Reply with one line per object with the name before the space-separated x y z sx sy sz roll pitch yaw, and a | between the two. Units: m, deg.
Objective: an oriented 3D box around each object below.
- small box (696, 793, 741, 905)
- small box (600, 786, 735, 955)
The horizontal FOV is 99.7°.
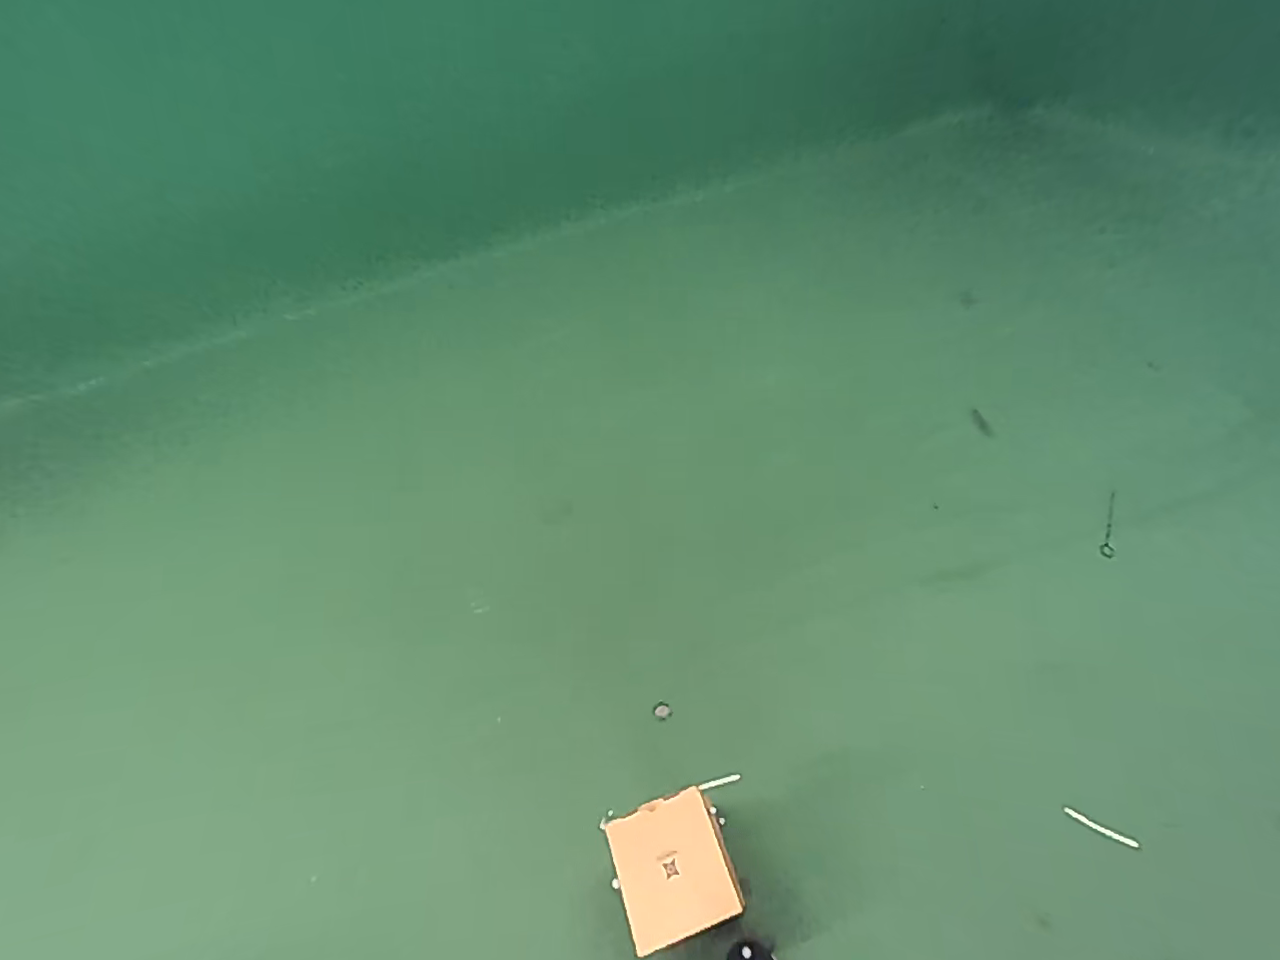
small box | 0.080 0.728 1.028 0.168 0.176 0.179 -20 54 -4
small box | 0.050 0.638 0.896 0.168 0.176 0.179 -21 52 -5
